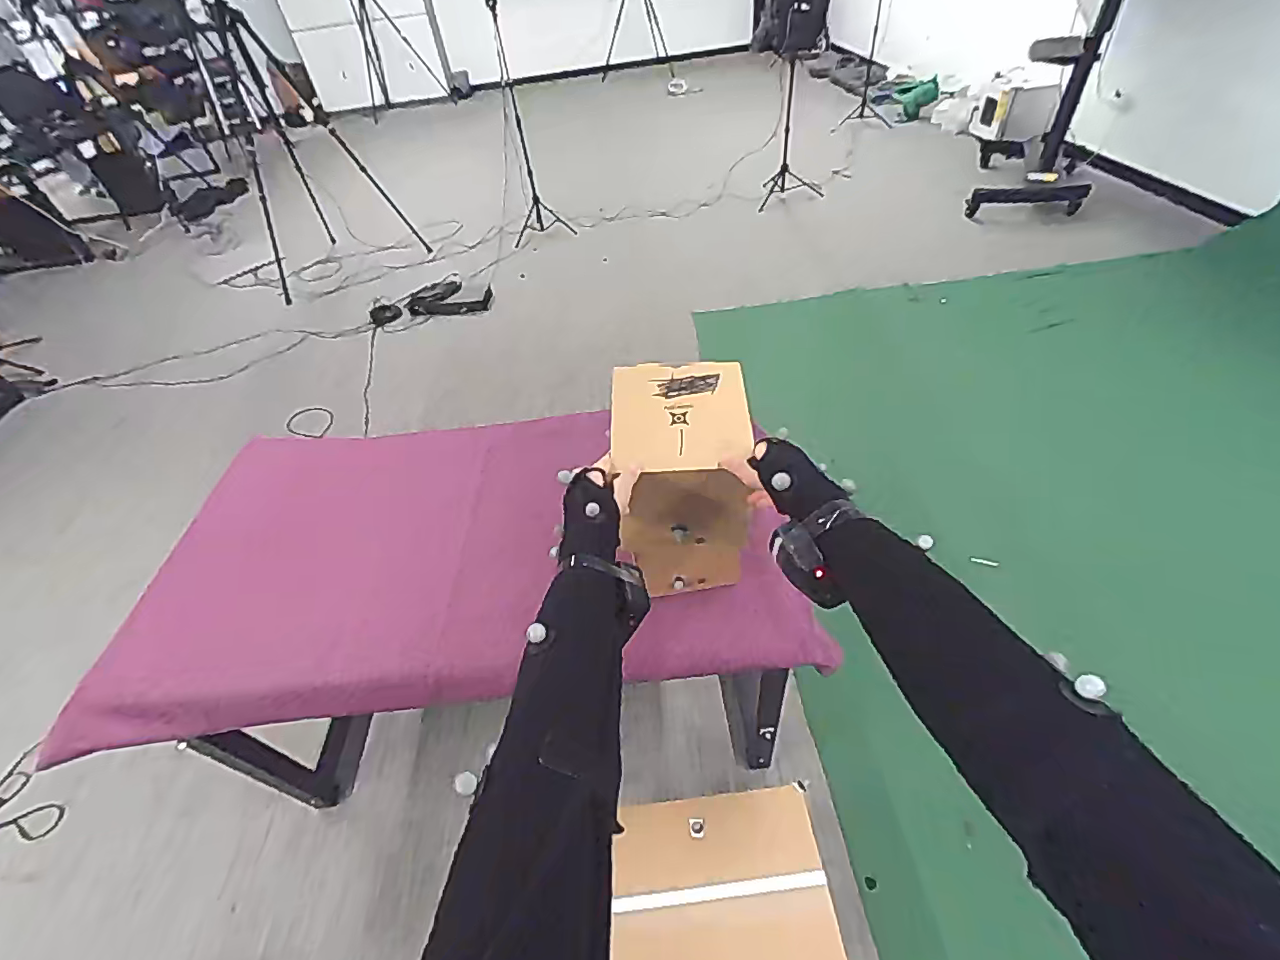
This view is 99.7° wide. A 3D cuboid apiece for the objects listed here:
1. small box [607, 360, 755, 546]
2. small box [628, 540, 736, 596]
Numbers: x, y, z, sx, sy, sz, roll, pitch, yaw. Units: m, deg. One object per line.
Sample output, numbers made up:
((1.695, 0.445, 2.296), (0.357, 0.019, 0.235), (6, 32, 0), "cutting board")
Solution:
((0.049, -0.032, 0.703), (0.168, 0.176, 0.179), (-3, 53, 3), "small box")
((0.060, 0.067, 0.902), (0.168, 0.176, 0.179), (-10, 44, 1), "small box")
